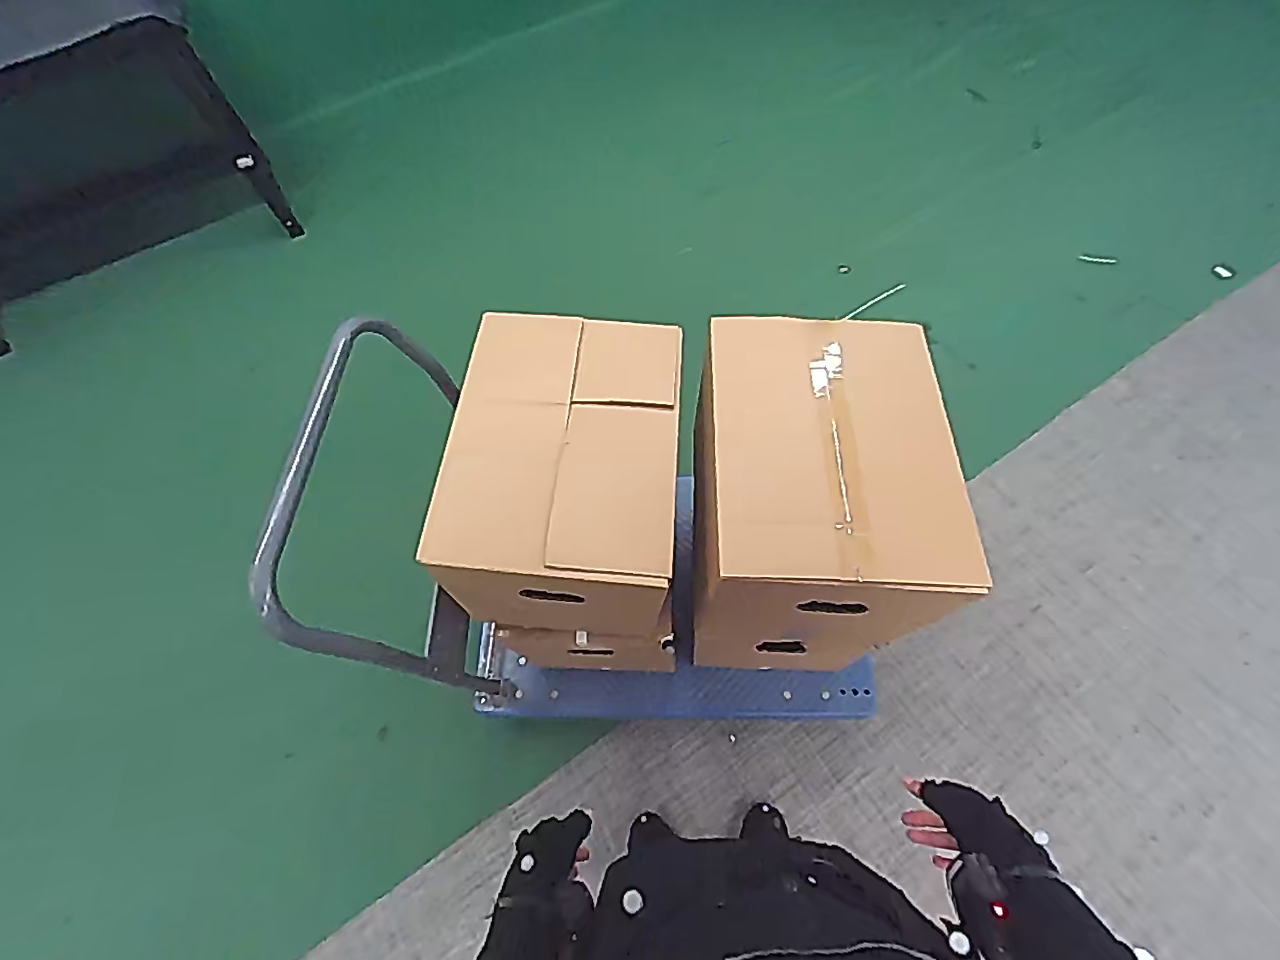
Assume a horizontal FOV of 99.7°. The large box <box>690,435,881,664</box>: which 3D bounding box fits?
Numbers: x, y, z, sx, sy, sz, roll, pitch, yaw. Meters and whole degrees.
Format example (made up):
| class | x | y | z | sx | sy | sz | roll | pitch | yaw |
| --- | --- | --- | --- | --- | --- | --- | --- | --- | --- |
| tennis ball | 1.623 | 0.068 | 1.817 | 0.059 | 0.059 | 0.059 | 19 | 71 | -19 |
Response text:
| class | x | y | z | sx | sy | sz | roll | pitch | yaw |
| --- | --- | --- | --- | --- | --- | --- | --- | --- | --- |
| large box | 0.266 | 0.154 | 1.130 | 0.320 | 0.320 | 0.408 | -1 | 64 | 7 |
